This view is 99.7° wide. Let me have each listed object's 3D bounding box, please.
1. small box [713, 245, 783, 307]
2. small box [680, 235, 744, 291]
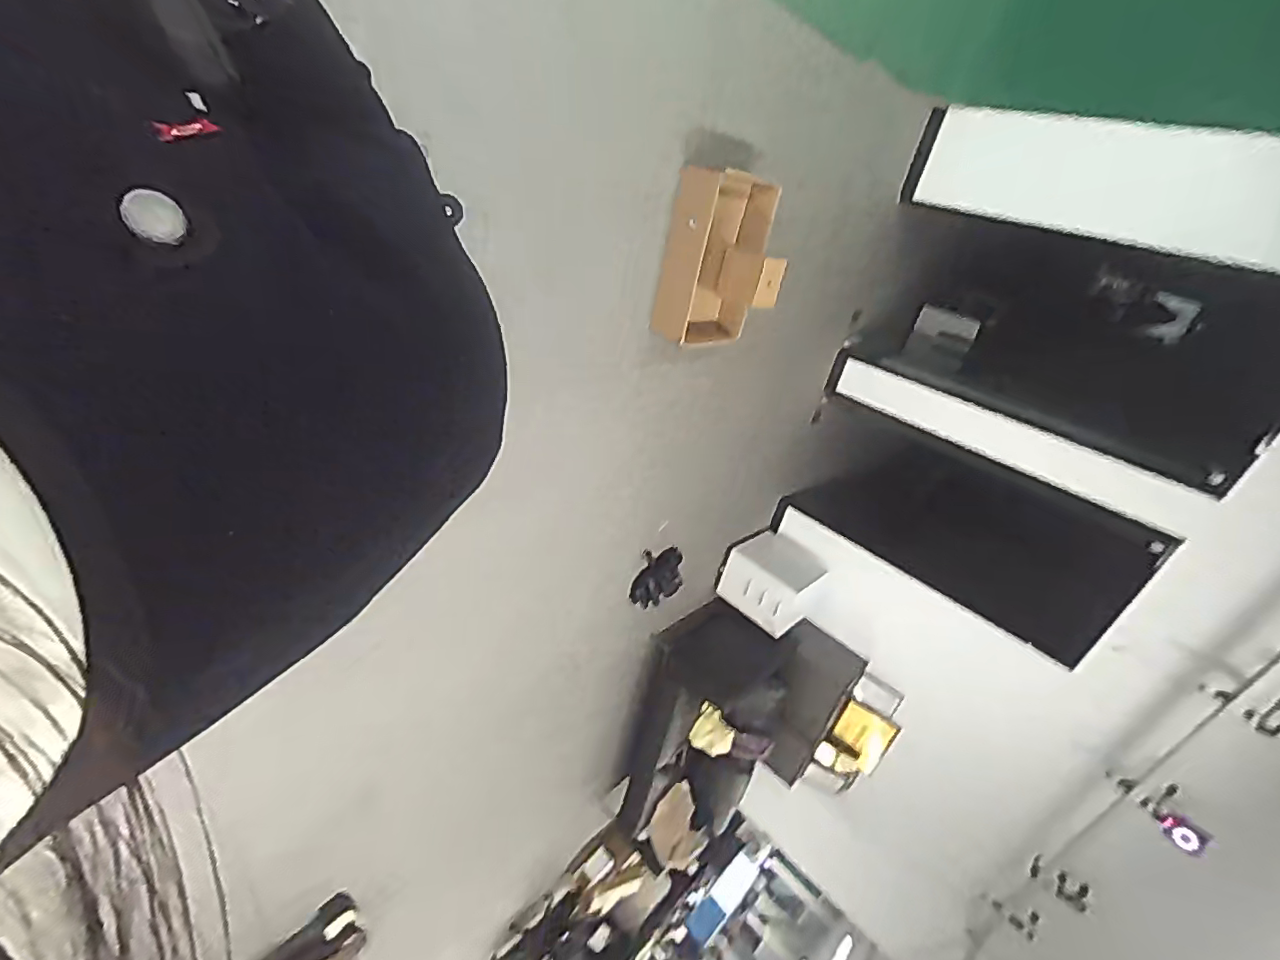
[{"bbox_3d":[0.392,-0.756,1.996,0.168,0.176,0.179,-25,136,-41],"label":"small box"},{"bbox_3d":[0.276,-0.847,2.102,0.168,0.176,0.179,-24,135,-43],"label":"small box"}]
